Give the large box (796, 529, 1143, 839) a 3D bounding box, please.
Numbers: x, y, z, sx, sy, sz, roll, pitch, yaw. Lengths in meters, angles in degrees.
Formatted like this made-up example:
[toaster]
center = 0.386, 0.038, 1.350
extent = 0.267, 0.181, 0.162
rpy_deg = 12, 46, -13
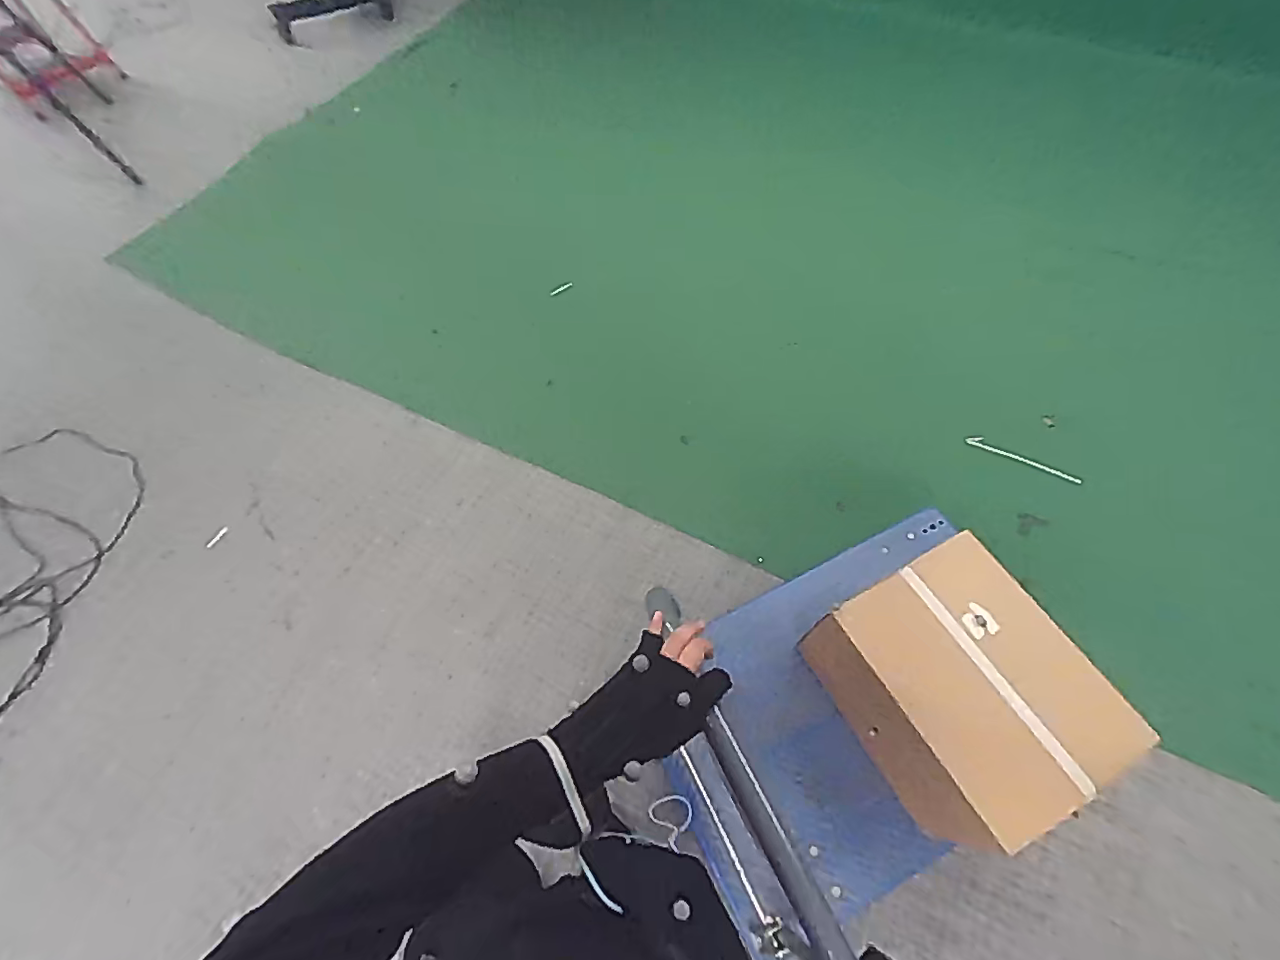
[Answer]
[large box]
center = 0.564, 0.376, 1.025
extent = 0.320, 0.320, 0.408
rpy_deg = -27, 63, -12
